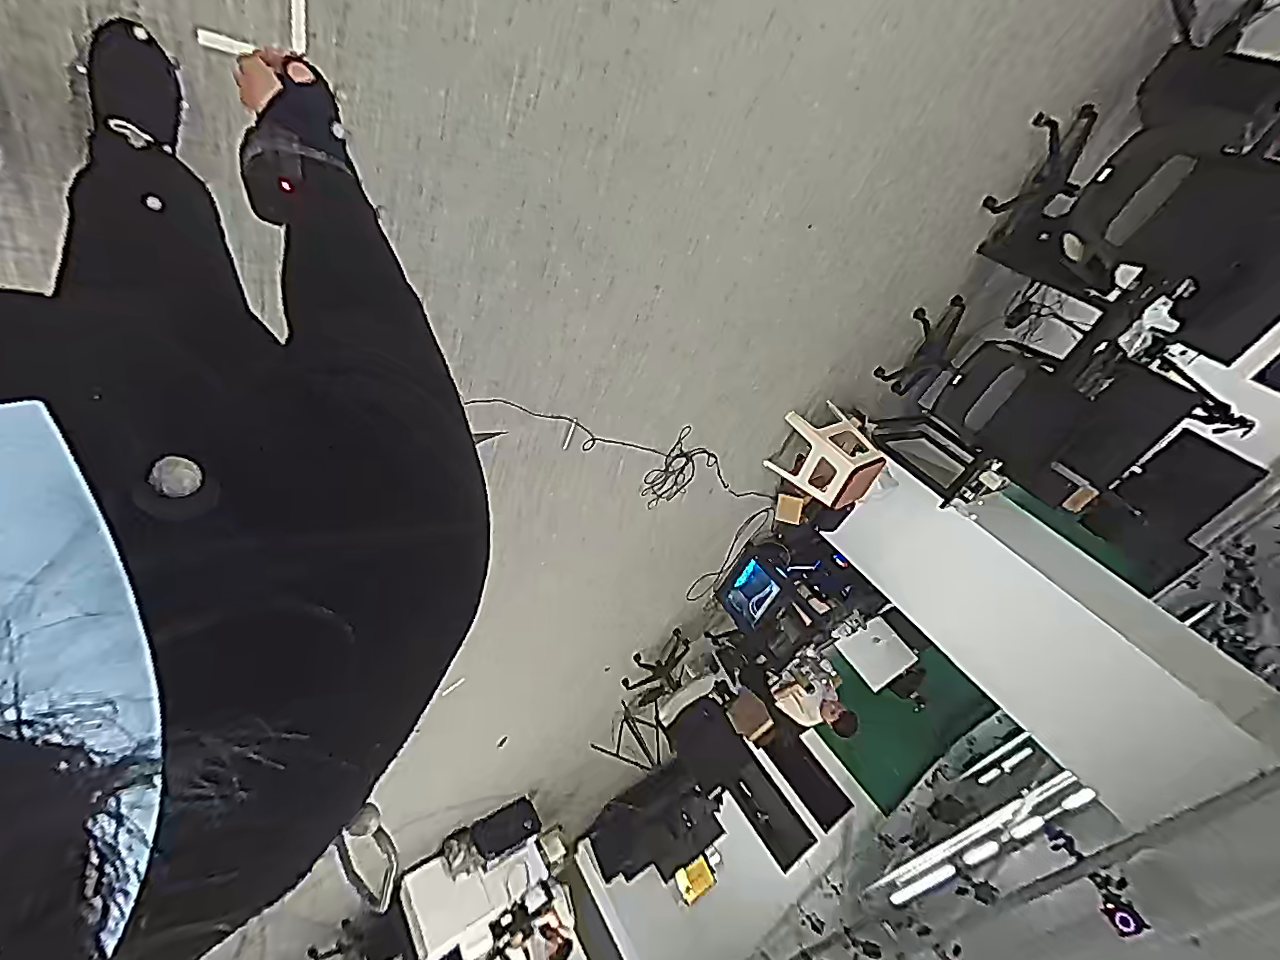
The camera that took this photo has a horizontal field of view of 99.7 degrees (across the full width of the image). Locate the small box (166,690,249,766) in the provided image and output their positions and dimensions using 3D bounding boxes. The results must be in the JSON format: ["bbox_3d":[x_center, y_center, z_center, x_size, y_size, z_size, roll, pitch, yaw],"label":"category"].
[{"bbox_3d":[-1.273,0.757,1.594,0.168,0.176,0.179,-12,137,-37],"label":"small box"}]

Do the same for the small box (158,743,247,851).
[{"bbox_3d":[-1.202,0.866,1.490,0.168,0.176,0.179,-12,137,-38],"label":"small box"}]
